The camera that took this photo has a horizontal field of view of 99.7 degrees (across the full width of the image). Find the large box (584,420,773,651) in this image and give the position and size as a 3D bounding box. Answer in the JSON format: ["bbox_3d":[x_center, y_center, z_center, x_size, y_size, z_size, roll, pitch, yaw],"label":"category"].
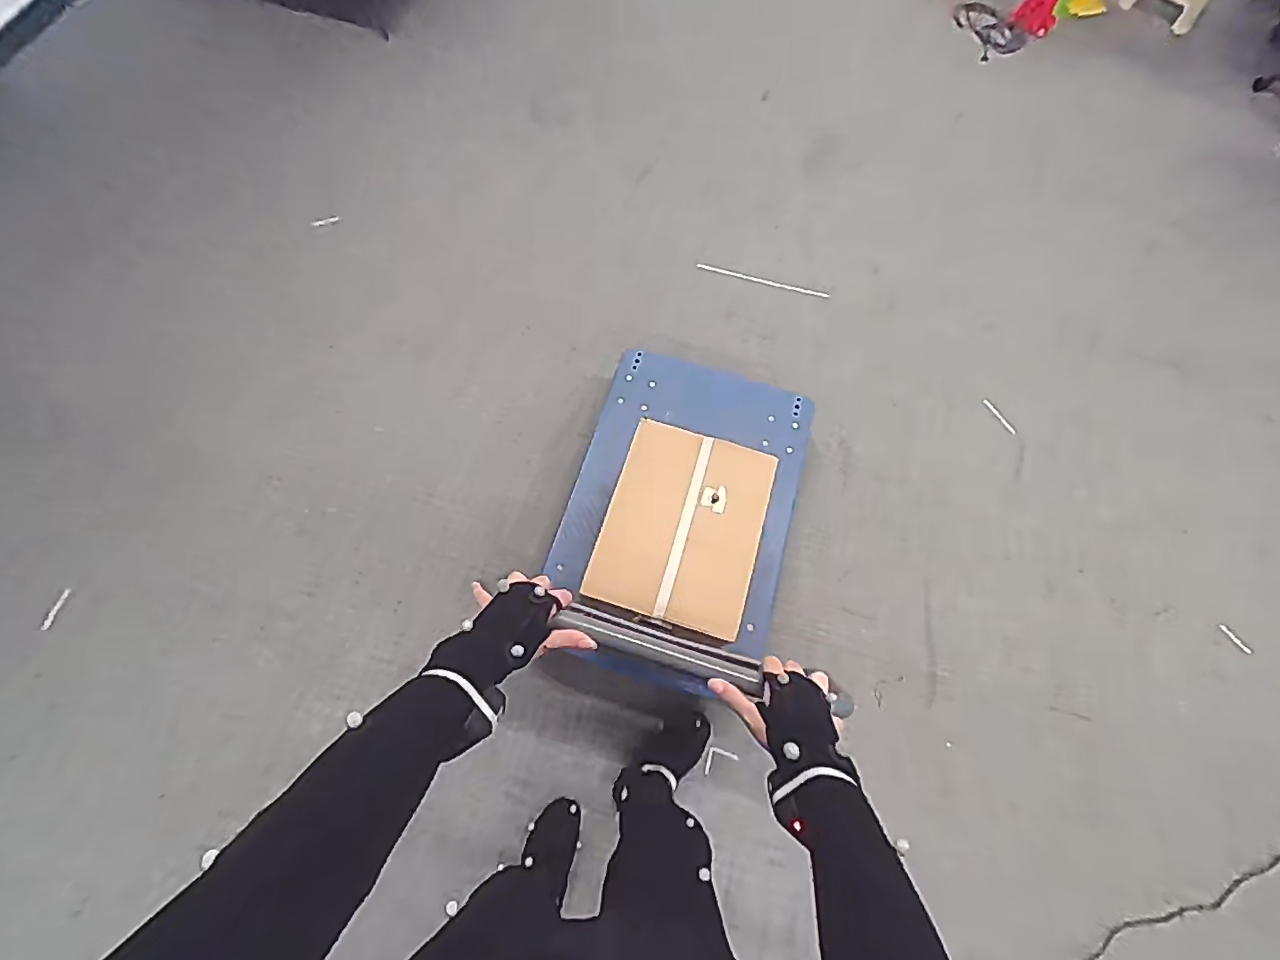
[{"bbox_3d":[0.083,0.140,1.236,0.320,0.320,0.408,17,68,3],"label":"large box"}]
